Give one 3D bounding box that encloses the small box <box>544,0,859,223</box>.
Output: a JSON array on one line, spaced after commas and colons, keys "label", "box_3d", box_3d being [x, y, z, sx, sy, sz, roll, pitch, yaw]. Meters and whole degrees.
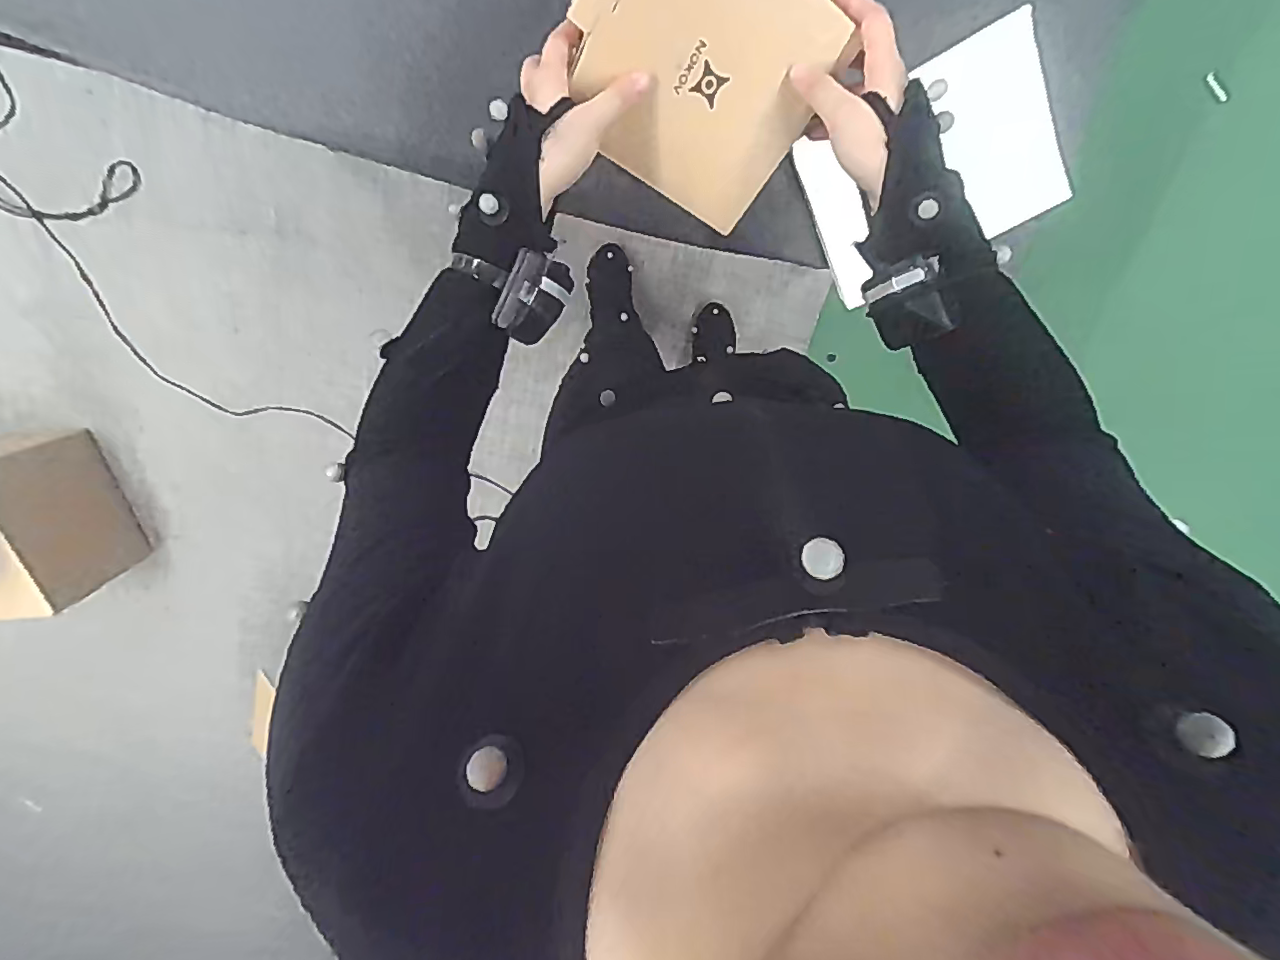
[{"label": "small box", "box_3d": [0.039, -0.360, 0.448, 0.179, 0.176, 0.168, 21, 132, -24]}]
